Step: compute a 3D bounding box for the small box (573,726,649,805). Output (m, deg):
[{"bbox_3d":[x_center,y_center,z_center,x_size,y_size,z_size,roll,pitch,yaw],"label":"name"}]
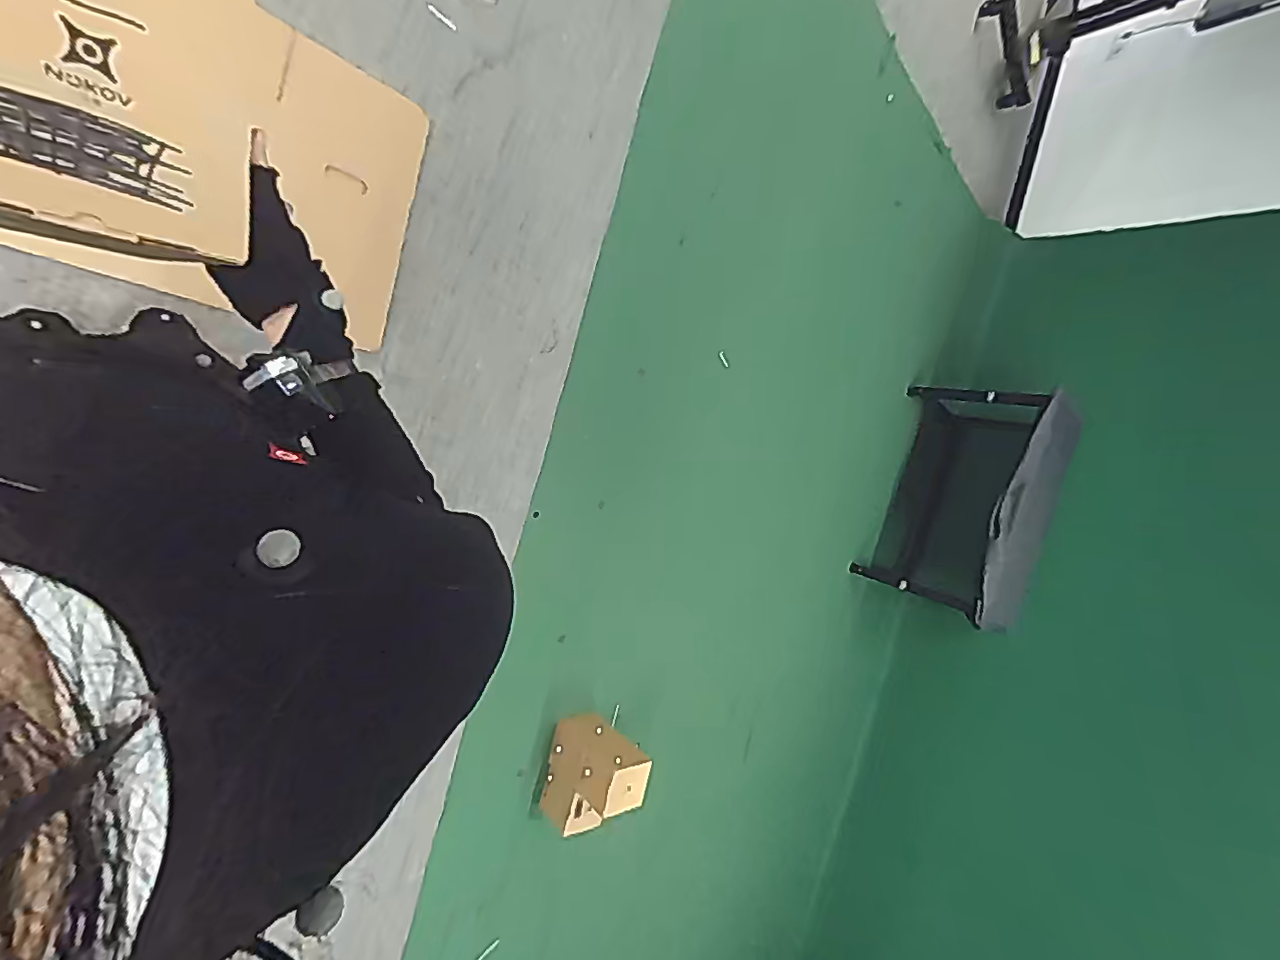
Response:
[{"bbox_3d":[-0.103,0.981,1.878,0.179,0.176,0.168,11,95,-42],"label":"small box"}]
